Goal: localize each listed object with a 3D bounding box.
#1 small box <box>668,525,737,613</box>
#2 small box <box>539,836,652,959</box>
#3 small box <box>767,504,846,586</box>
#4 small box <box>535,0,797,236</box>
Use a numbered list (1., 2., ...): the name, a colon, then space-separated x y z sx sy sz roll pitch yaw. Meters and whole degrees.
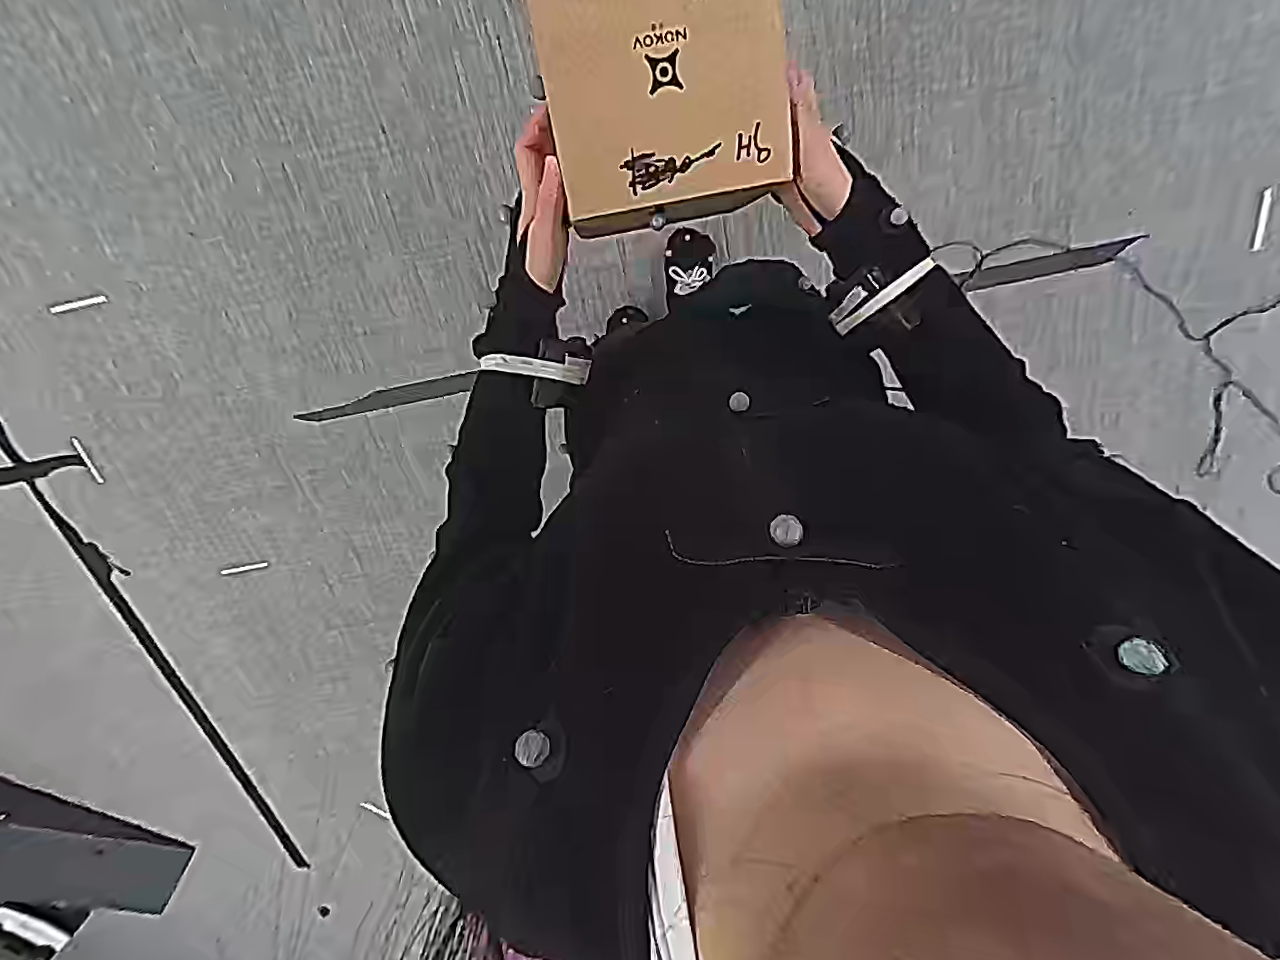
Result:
1. small box: 0.178 0.256 1.573 0.168 0.176 0.179 -12 111 4
2. small box: -0.074 0.806 1.010 0.179 0.176 0.168 -10 113 3
3. small box: 0.473 0.180 1.545 0.179 0.176 0.168 -9 111 4
4. small box: 0.013 -0.308 0.431 0.168 0.176 0.179 -11 110 0
